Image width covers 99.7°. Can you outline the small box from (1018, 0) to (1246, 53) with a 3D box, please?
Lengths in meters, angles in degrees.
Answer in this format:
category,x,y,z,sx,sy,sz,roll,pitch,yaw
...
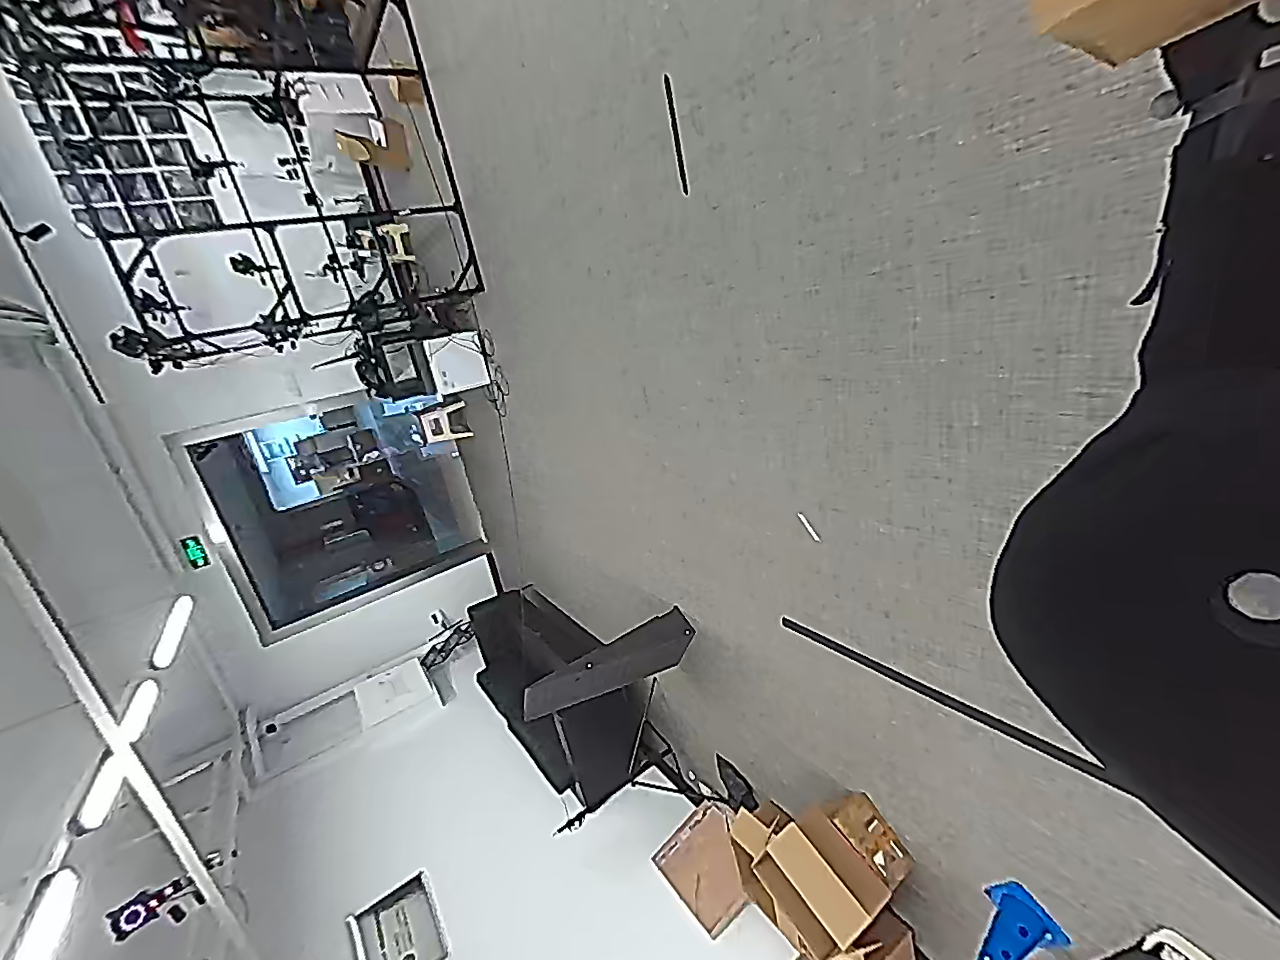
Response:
category,x,y,z,sx,sy,sz,roll,pitch,yaw
small box,0.250,-0.306,0.201,0.168,0.176,0.179,-3,108,52
